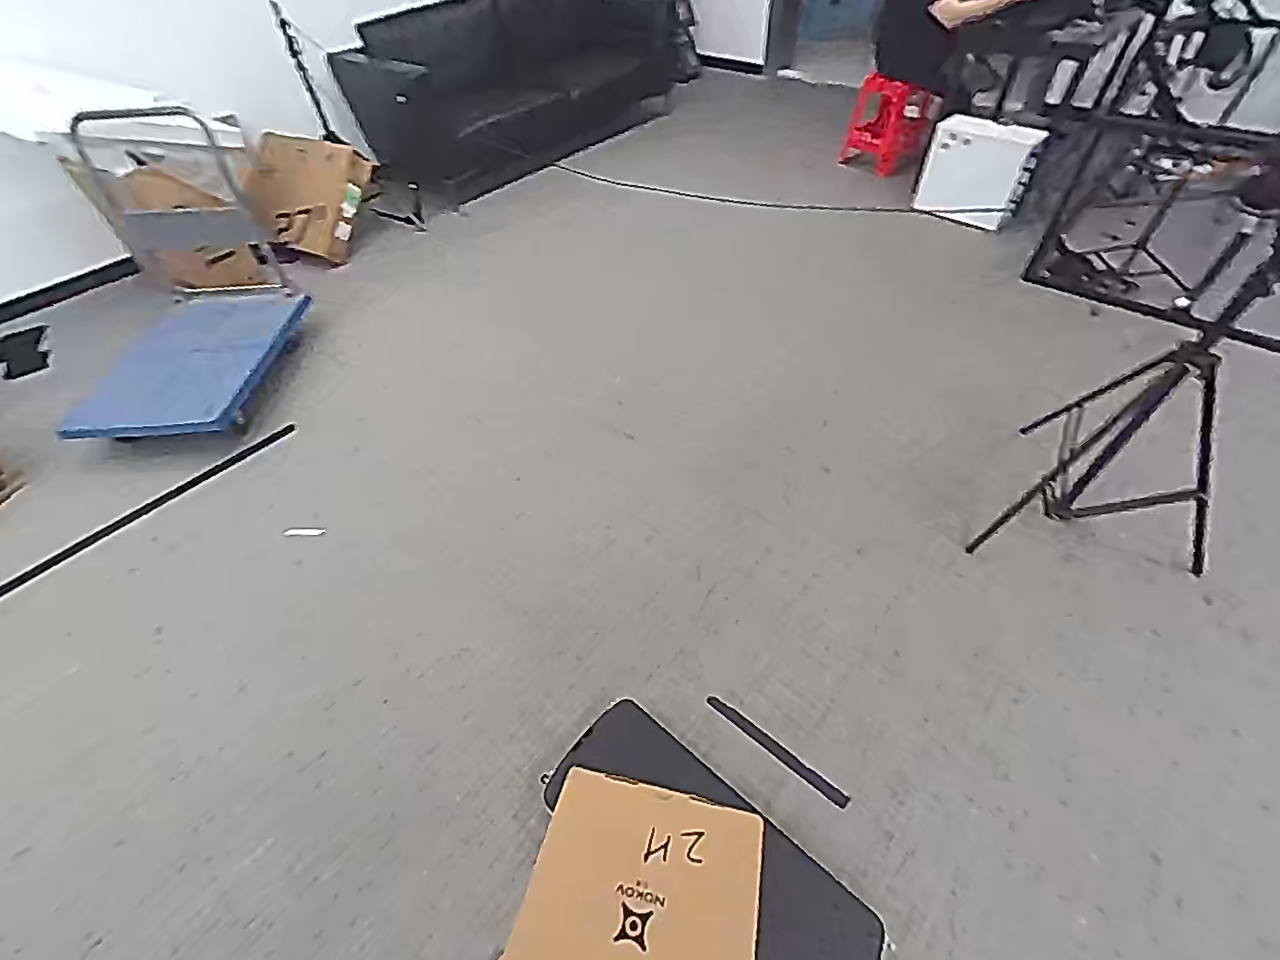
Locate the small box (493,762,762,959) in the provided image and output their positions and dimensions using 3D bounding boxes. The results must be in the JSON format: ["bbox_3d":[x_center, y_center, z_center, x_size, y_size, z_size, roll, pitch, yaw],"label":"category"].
[{"bbox_3d":[-0.005,0.367,0.421,0.168,0.176,0.179,10,34,12],"label":"small box"}]
